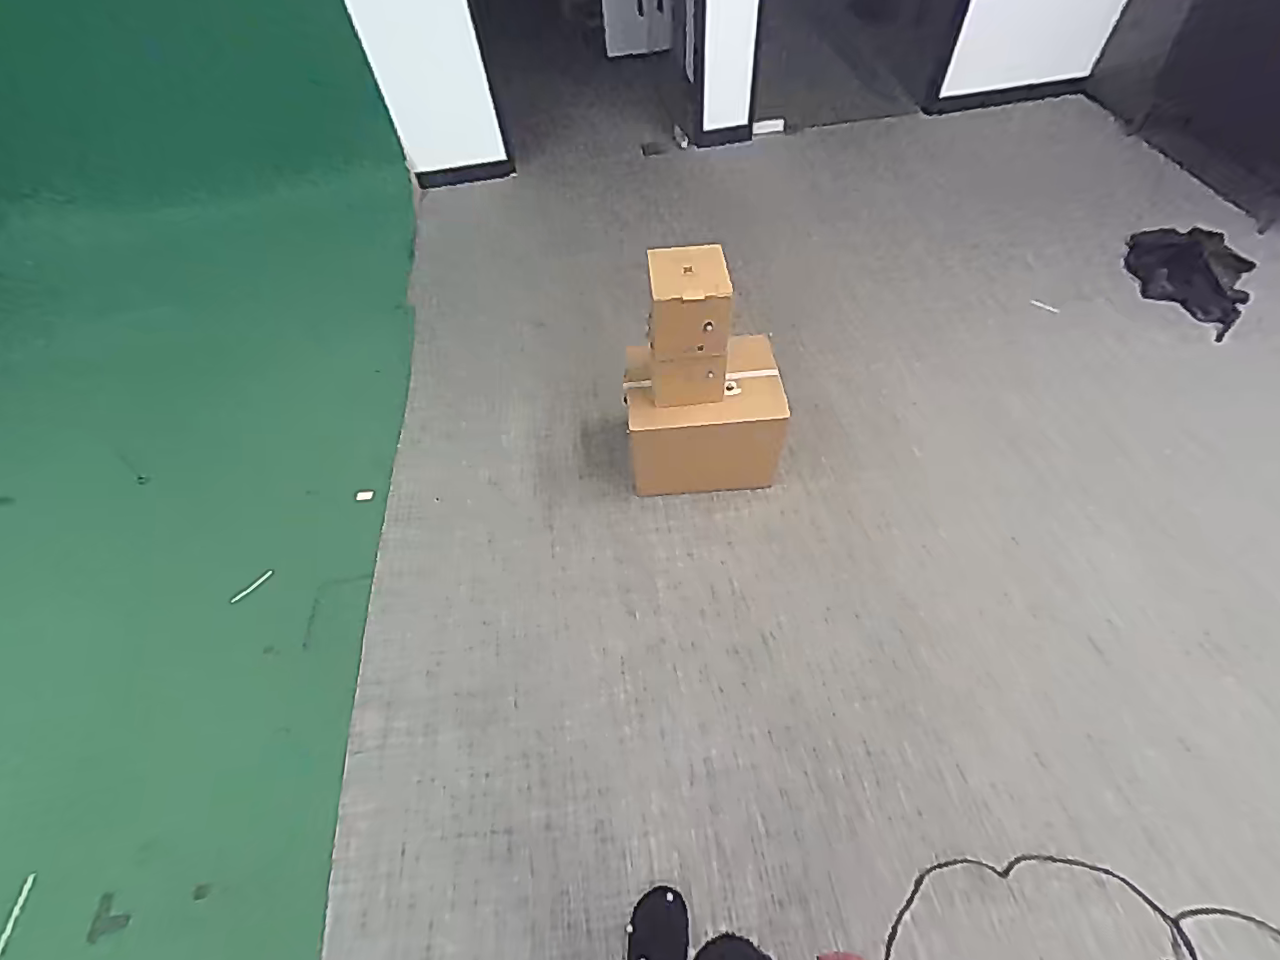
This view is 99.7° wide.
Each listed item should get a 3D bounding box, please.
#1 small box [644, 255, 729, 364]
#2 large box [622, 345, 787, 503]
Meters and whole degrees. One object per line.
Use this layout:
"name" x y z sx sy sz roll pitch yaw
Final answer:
"small box" 0.099 -0.374 1.205 0.168 0.176 0.179 -4 54 -1
"large box" 0.163 -0.154 1.545 0.408 0.320 0.320 -4 56 0
